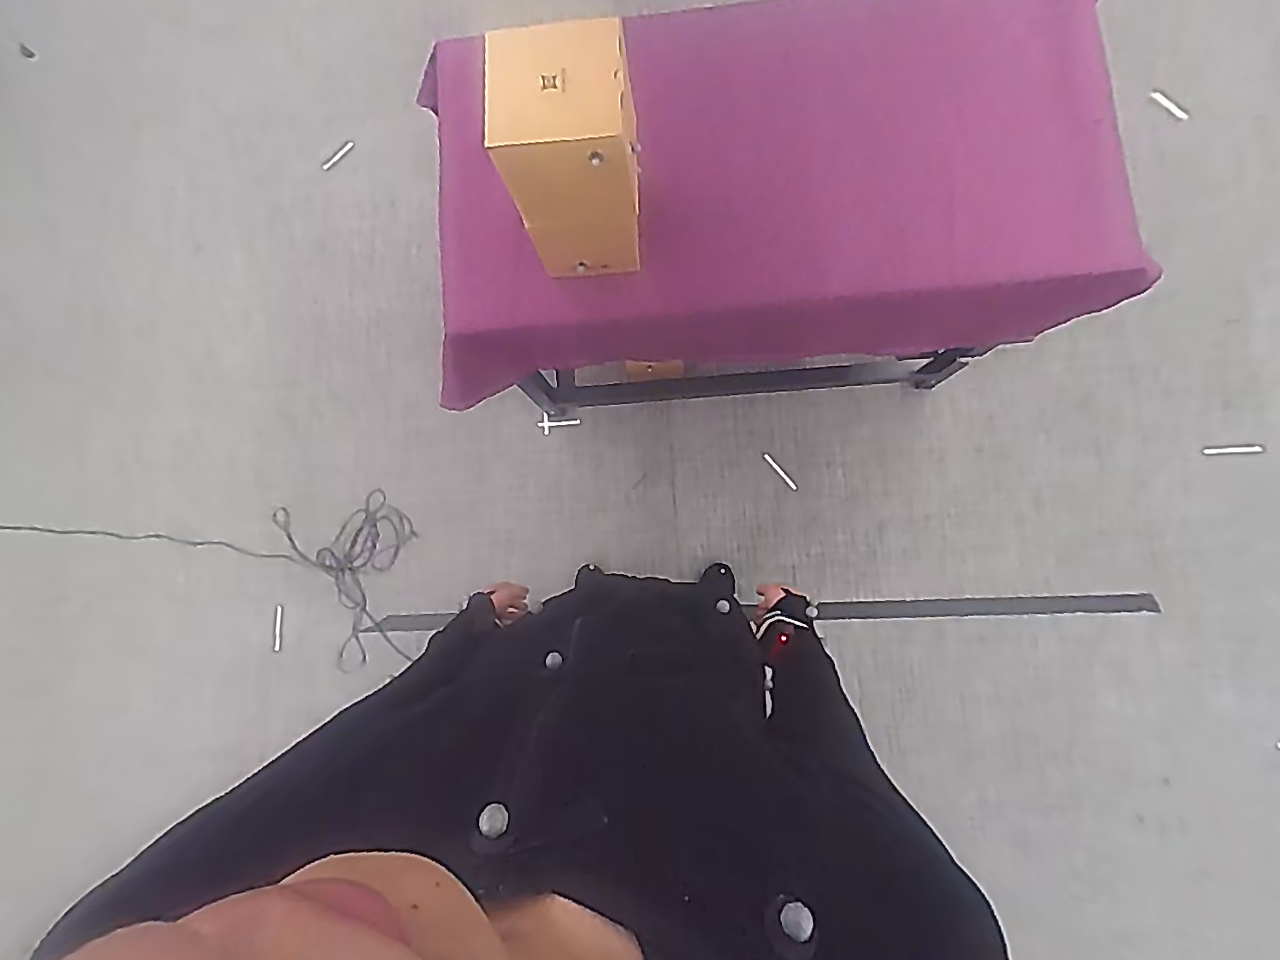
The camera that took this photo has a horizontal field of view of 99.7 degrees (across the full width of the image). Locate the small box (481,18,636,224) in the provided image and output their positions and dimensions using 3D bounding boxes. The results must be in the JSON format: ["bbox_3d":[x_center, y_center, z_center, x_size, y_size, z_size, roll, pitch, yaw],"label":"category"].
[{"bbox_3d":[-0.102,-0.475,0.743,0.179,0.176,0.168,-2,83,5],"label":"small box"}]

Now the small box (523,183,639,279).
[{"bbox_3d":[-0.091,-0.461,0.904,0.168,0.176,0.179,-3,83,5],"label":"small box"}]
